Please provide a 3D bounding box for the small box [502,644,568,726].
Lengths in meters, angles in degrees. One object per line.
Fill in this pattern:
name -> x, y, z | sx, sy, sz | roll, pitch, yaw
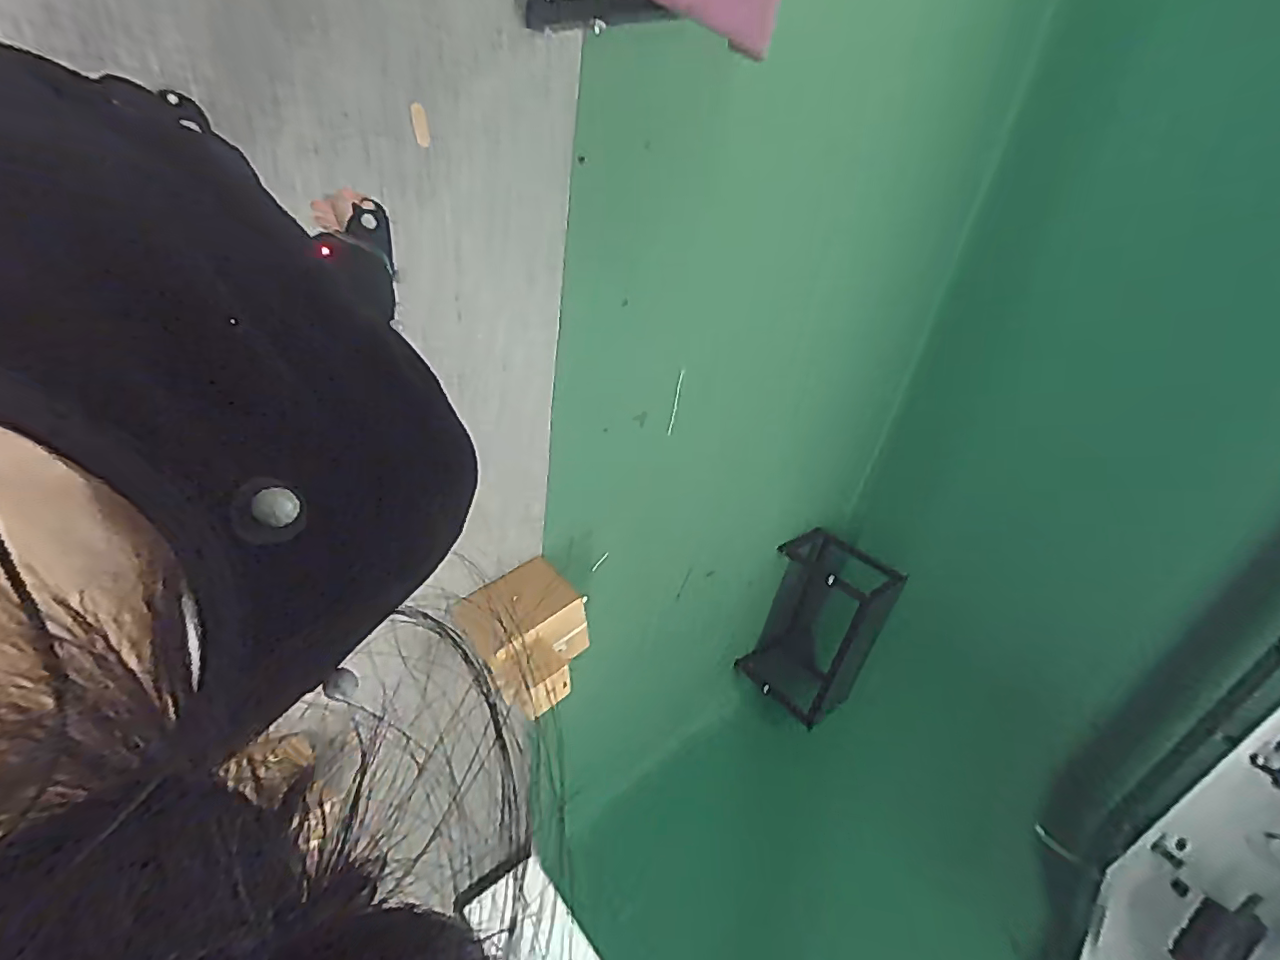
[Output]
small box -> -0.379, 0.727, 1.931 | 0.179, 0.176, 0.168 | -25, 132, -34

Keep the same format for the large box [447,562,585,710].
large box -> -0.479, 0.601, 2.137 | 0.408, 0.320, 0.320 | -30, 136, -32
